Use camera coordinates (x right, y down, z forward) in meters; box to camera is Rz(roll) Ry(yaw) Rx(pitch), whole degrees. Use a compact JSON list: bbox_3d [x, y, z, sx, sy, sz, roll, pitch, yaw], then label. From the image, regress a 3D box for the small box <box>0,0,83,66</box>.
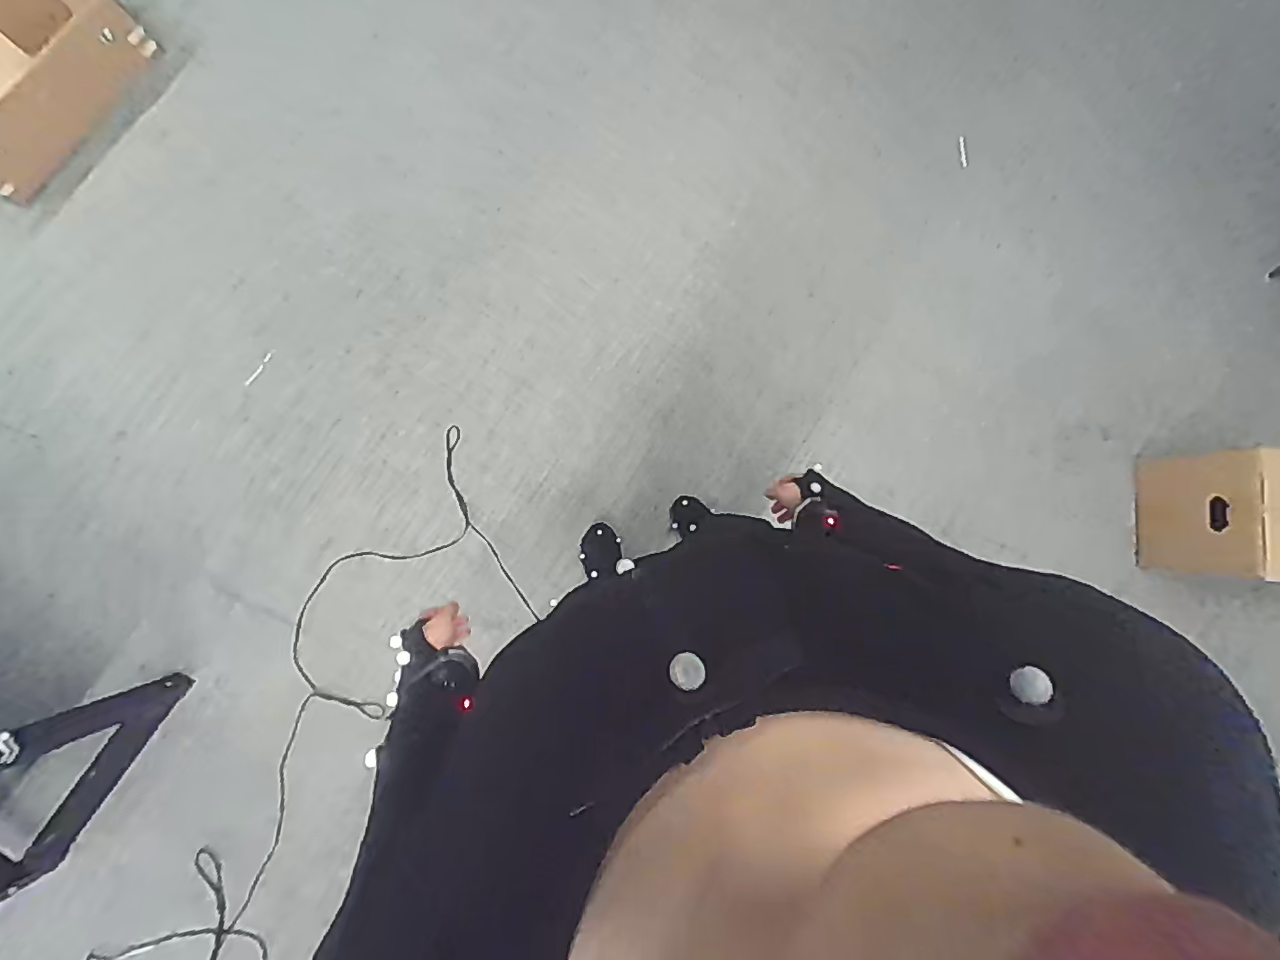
[{"bbox_3d":[-1.639,-1.240,1.401,0.179,0.176,0.168,43,86,-1],"label":"small box"}]
